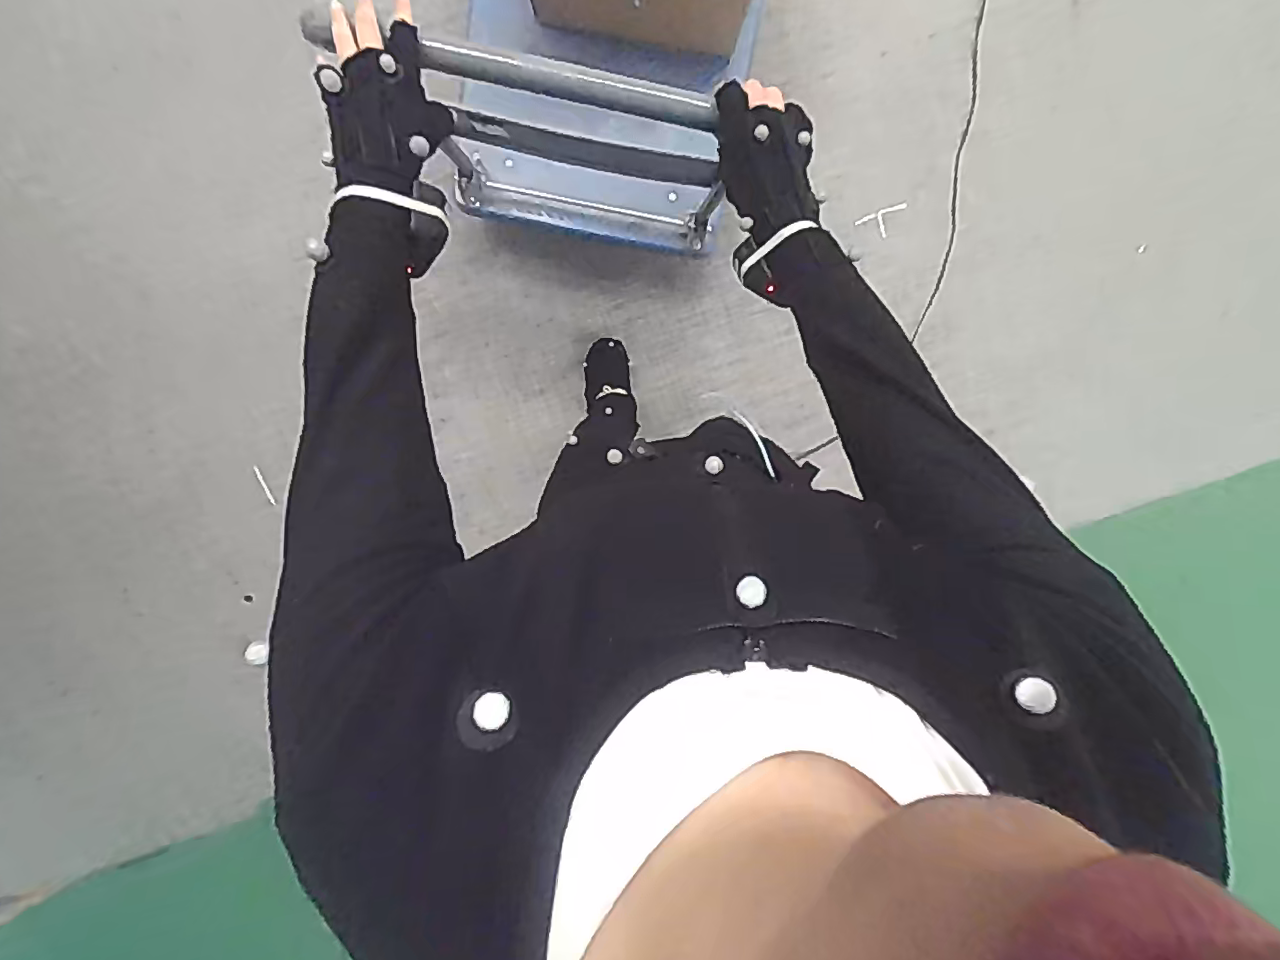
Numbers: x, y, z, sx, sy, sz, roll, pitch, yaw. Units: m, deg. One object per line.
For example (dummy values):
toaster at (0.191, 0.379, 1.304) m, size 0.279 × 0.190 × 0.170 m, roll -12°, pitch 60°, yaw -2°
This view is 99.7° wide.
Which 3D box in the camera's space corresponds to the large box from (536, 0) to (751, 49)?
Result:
large box at (0.016, -1.014, 0.922) m, size 0.408 × 0.320 × 0.320 m, roll 8°, pitch 101°, yaw -2°
